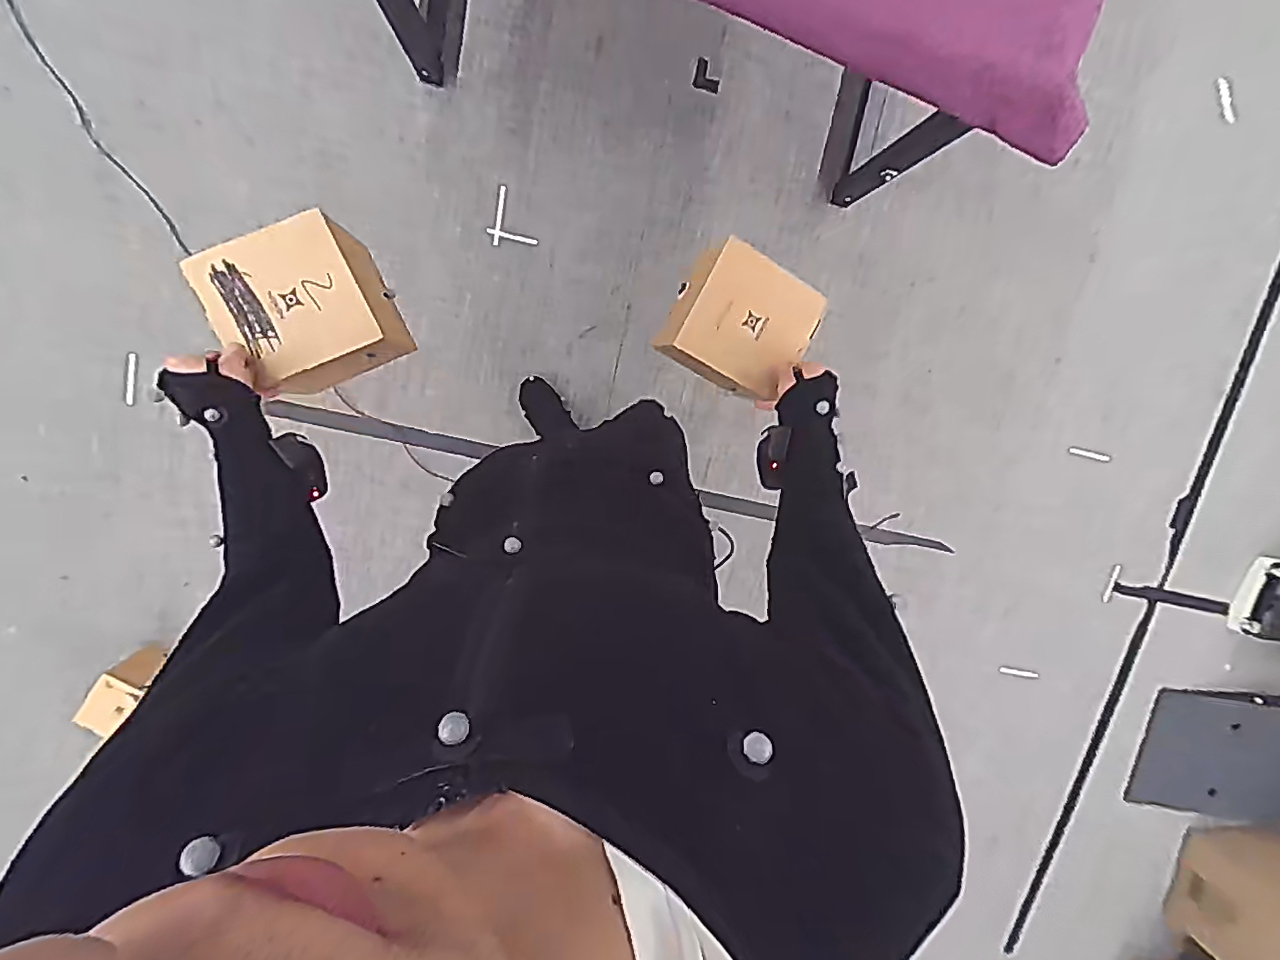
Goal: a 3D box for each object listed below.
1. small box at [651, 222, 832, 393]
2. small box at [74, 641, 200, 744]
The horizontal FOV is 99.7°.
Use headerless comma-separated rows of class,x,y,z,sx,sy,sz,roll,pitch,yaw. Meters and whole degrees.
small box,0.139,-0.248,0.806,0.179,0.176,0.168,26,97,-16
small box,-1.414,0.596,1.535,0.168,0.176,0.179,36,97,-12
